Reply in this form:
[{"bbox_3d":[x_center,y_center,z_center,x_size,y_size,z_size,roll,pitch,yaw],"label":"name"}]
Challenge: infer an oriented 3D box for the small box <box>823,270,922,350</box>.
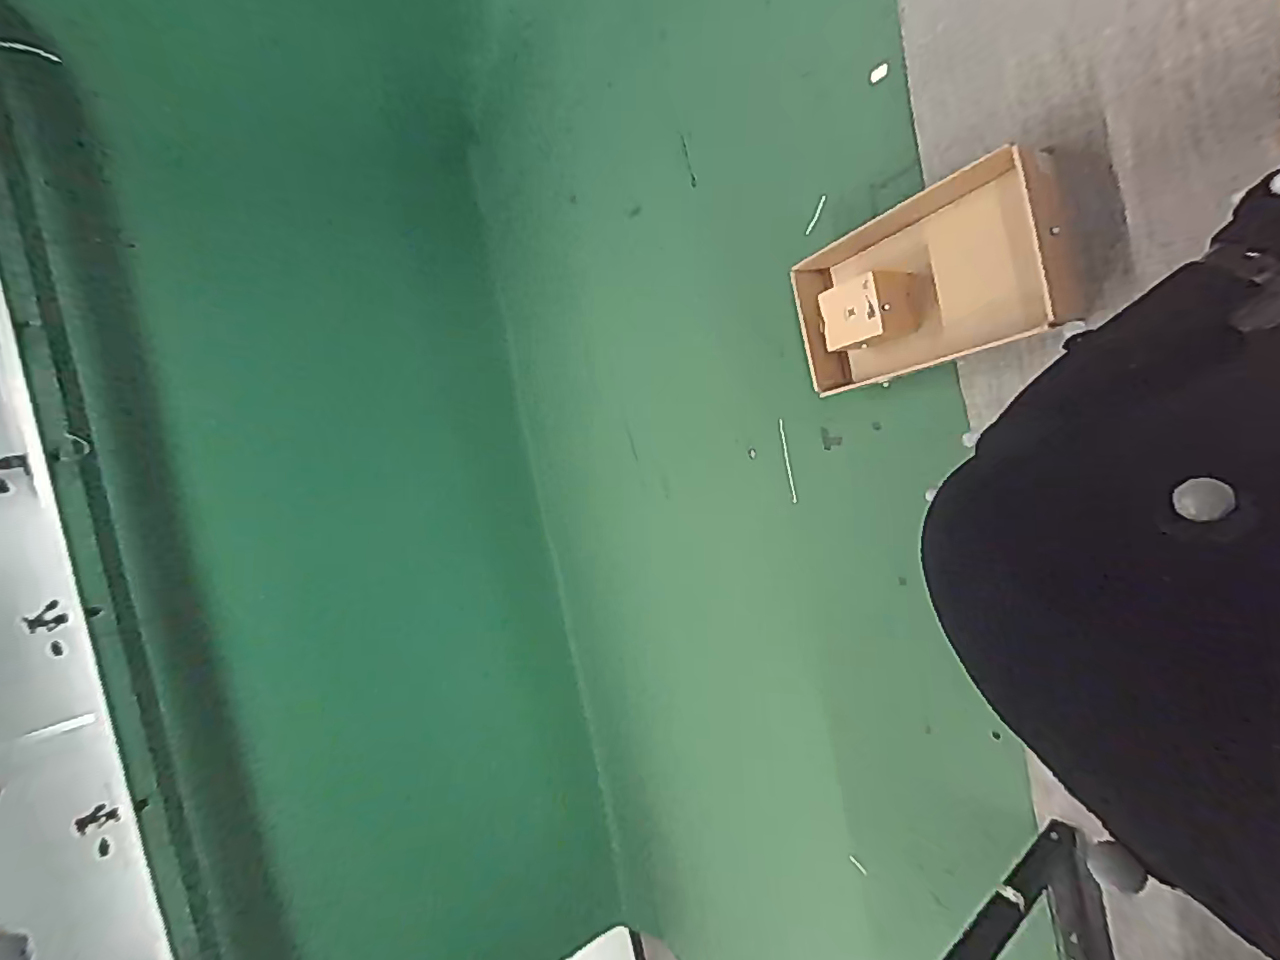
[{"bbox_3d":[0.641,-0.462,1.491,0.179,0.176,0.168,-9,91,58],"label":"small box"}]
